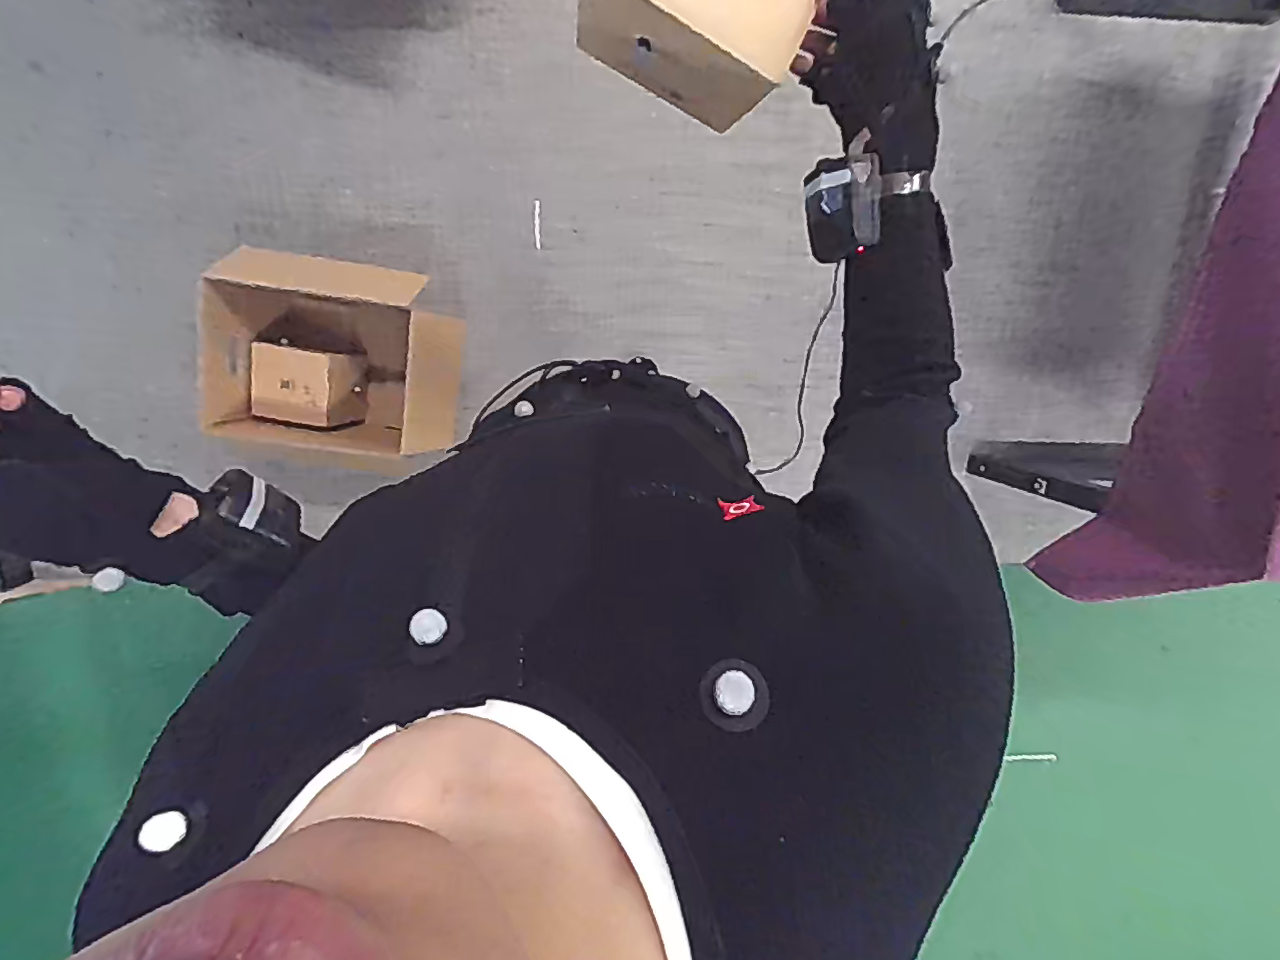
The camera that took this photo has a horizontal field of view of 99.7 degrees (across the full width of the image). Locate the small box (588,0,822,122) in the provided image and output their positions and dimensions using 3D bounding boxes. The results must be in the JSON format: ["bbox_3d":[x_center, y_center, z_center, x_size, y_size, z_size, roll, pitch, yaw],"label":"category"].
[{"bbox_3d":[0.063,-0.431,0.435,0.168,0.176,0.179,21,106,-15],"label":"small box"}]
